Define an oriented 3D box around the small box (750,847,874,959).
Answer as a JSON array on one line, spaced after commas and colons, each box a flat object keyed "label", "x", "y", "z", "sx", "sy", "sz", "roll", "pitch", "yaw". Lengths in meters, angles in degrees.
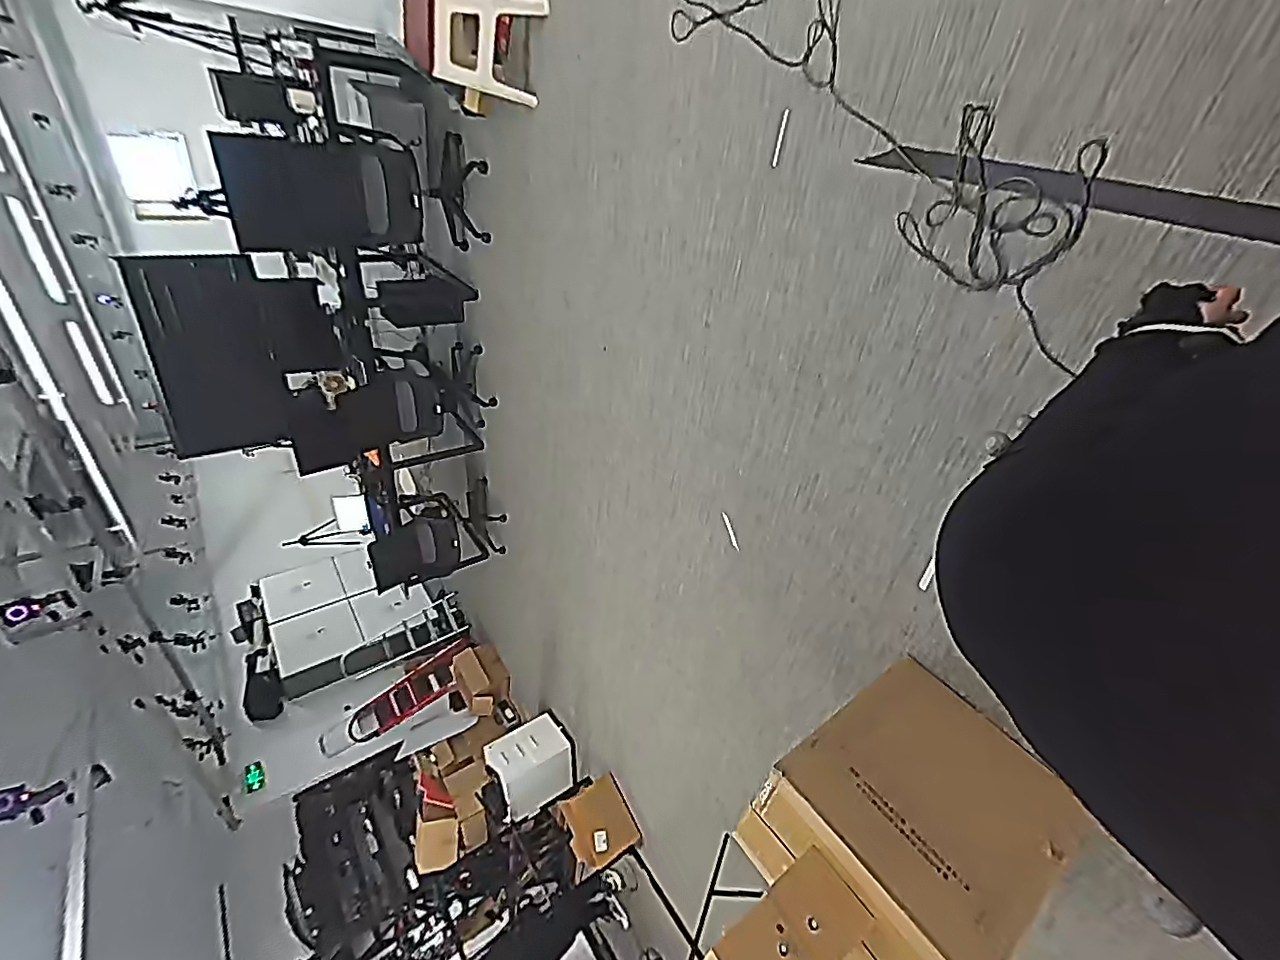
[{"label": "small box", "x": 0.380, "y": 0.969, "z": 1.197, "sx": 0.179, "sy": 0.176, "sz": 0.168, "roll": 43, "pitch": 137, "yaw": 38}]
